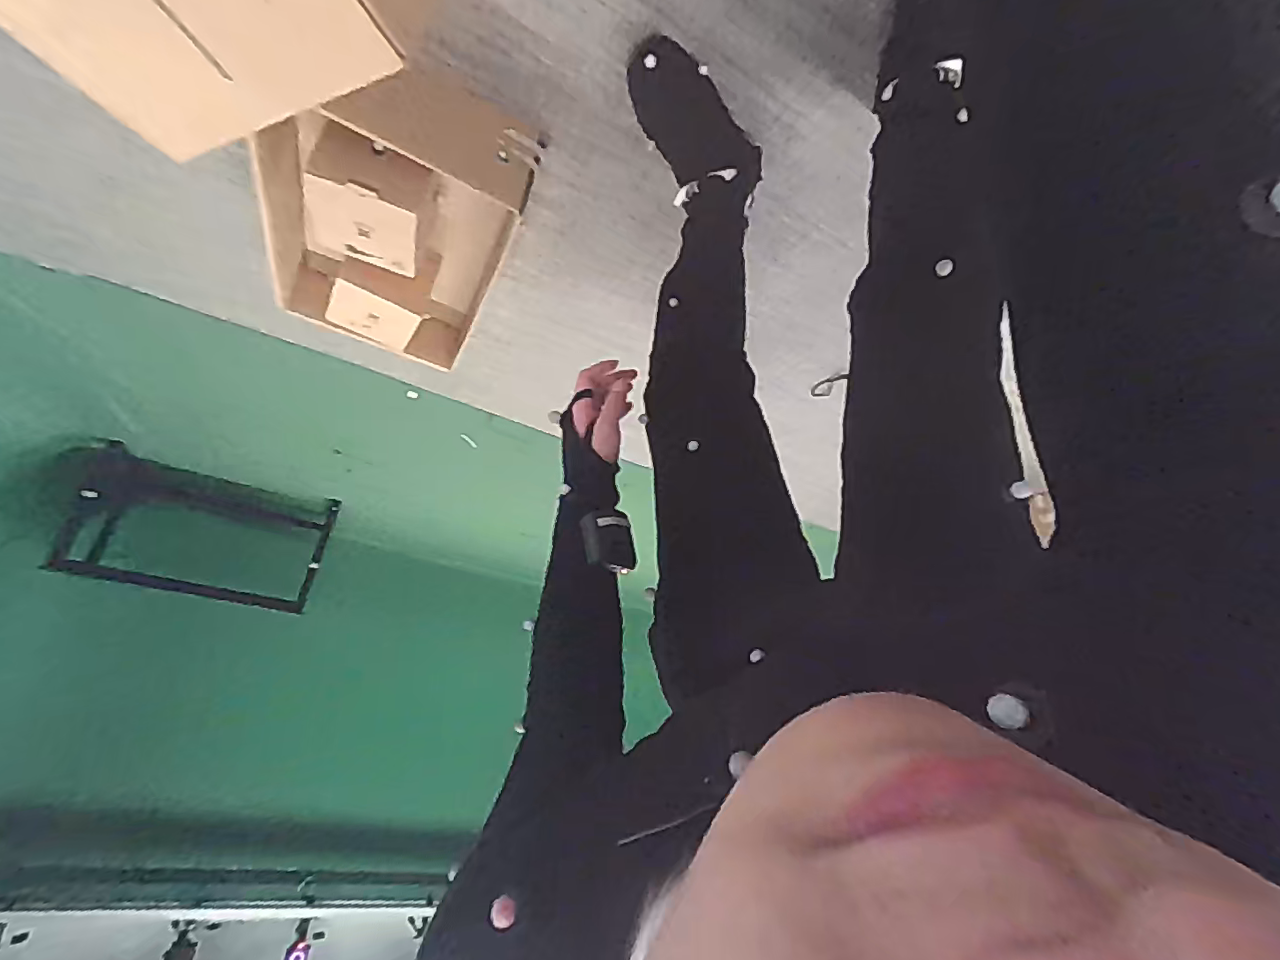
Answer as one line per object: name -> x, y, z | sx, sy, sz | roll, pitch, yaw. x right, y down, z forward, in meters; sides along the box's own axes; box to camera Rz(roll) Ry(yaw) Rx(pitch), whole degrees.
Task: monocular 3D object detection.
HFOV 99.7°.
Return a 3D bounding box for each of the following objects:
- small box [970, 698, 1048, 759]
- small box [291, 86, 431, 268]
small box -> 1.301, 0.875, 1.910 | 0.179, 0.176, 0.168 | 18, 157, -24
small box -> -0.459, -0.505, 0.910 | 0.168, 0.176, 0.179 | 16, 159, -20
